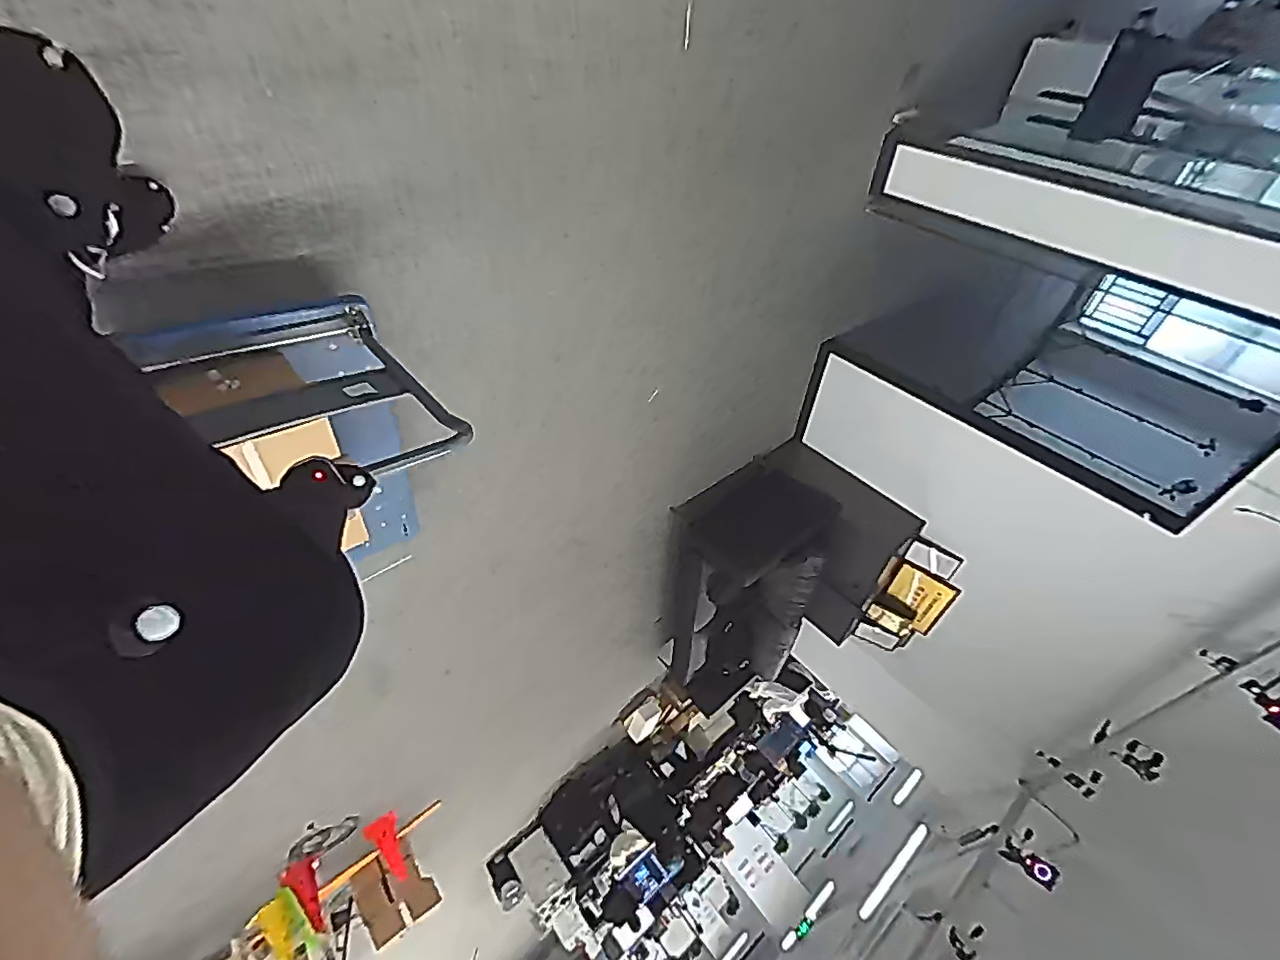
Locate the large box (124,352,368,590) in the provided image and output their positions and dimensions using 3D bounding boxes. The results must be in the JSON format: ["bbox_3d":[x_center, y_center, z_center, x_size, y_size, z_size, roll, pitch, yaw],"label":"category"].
[{"bbox_3d":[-0.908,-0.028,1.283,0.320,0.320,0.408,-27,143,-32],"label":"large box"}]
